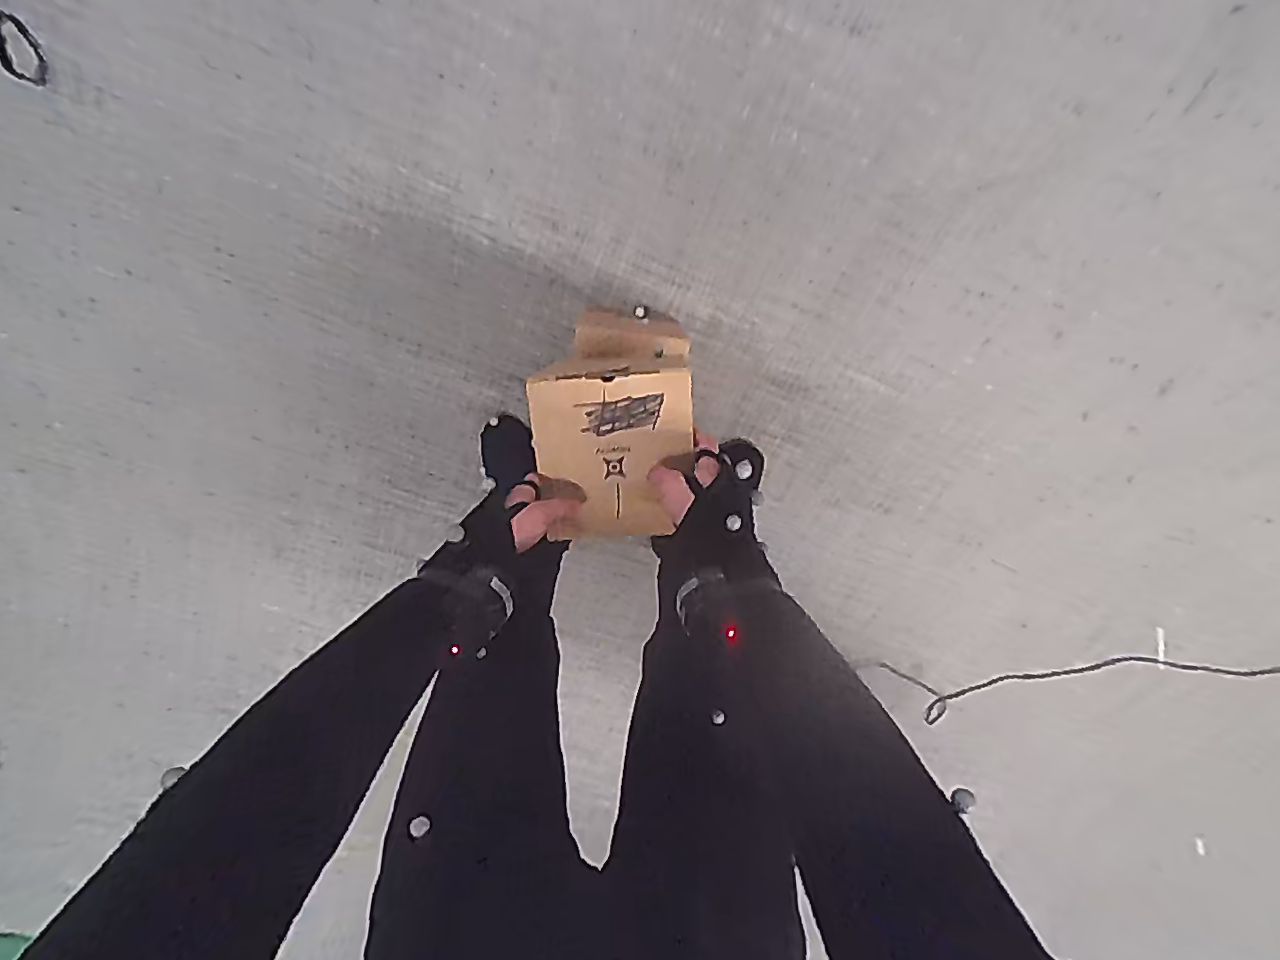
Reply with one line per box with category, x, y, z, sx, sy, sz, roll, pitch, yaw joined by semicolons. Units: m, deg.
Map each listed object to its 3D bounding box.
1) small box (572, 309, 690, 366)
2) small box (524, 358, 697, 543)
small box;-0.020;-0.163;0.859;0.168;0.176;0.179;5;115;-4
small box;-0.023;-0.044;0.622;0.168;0.176;0.179;-3;109;5
